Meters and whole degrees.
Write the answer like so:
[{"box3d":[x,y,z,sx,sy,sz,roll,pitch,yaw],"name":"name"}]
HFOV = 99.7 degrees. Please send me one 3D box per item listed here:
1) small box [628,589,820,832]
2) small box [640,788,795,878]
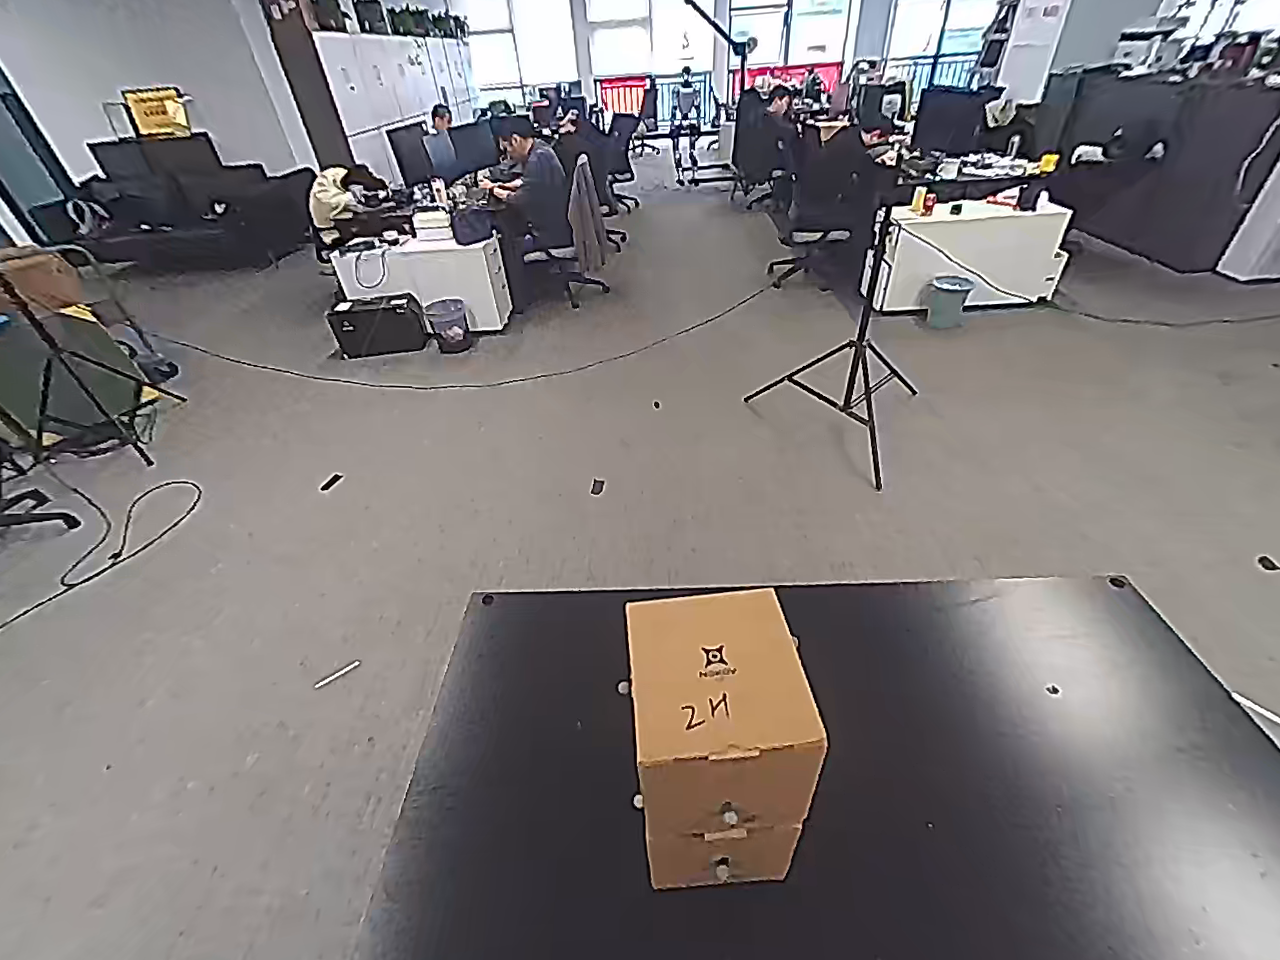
[{"box3d":[0.076,0.244,0.584,0.168,0.176,0.179,-6,38,-1],"name":"small box"},{"box3d":[0.087,0.377,0.683,0.168,0.176,0.179,-5,38,0],"name":"small box"}]
